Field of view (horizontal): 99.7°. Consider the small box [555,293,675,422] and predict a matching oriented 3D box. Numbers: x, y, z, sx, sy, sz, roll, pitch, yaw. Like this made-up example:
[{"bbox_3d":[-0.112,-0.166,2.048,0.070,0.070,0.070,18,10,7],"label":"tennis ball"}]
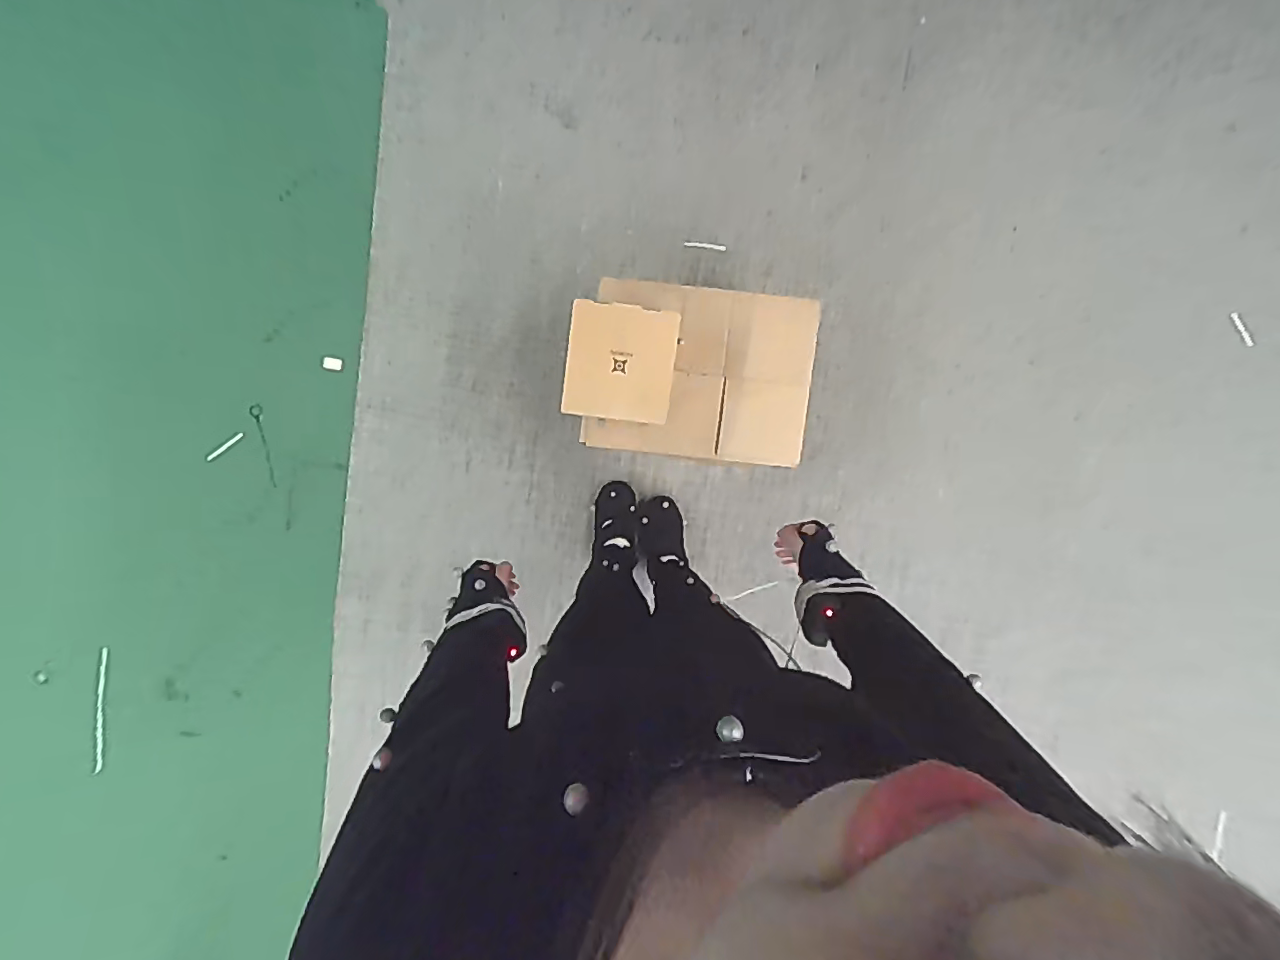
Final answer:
[{"bbox_3d":[-0.038,-0.193,0.900,0.168,0.176,0.179,8,95,-1],"label":"small box"}]
